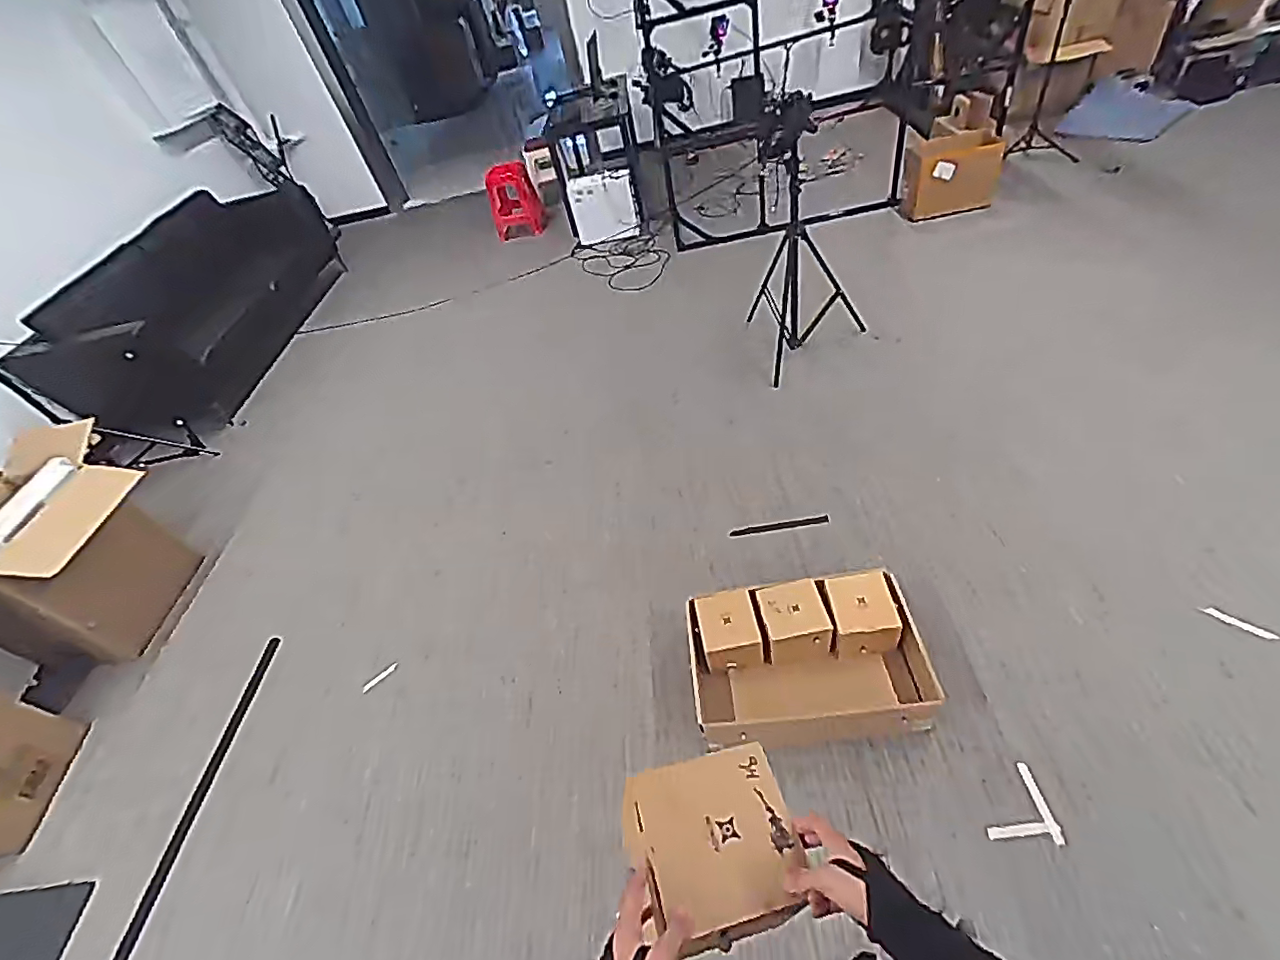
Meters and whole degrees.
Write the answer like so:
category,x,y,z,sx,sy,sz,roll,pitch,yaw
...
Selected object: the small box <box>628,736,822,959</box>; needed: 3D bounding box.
category,x,y,z,sx,sy,sz,roll,pitch,yaw
small box,0.085,0.446,0.658,0.179,0.176,0.168,-7,44,-14
